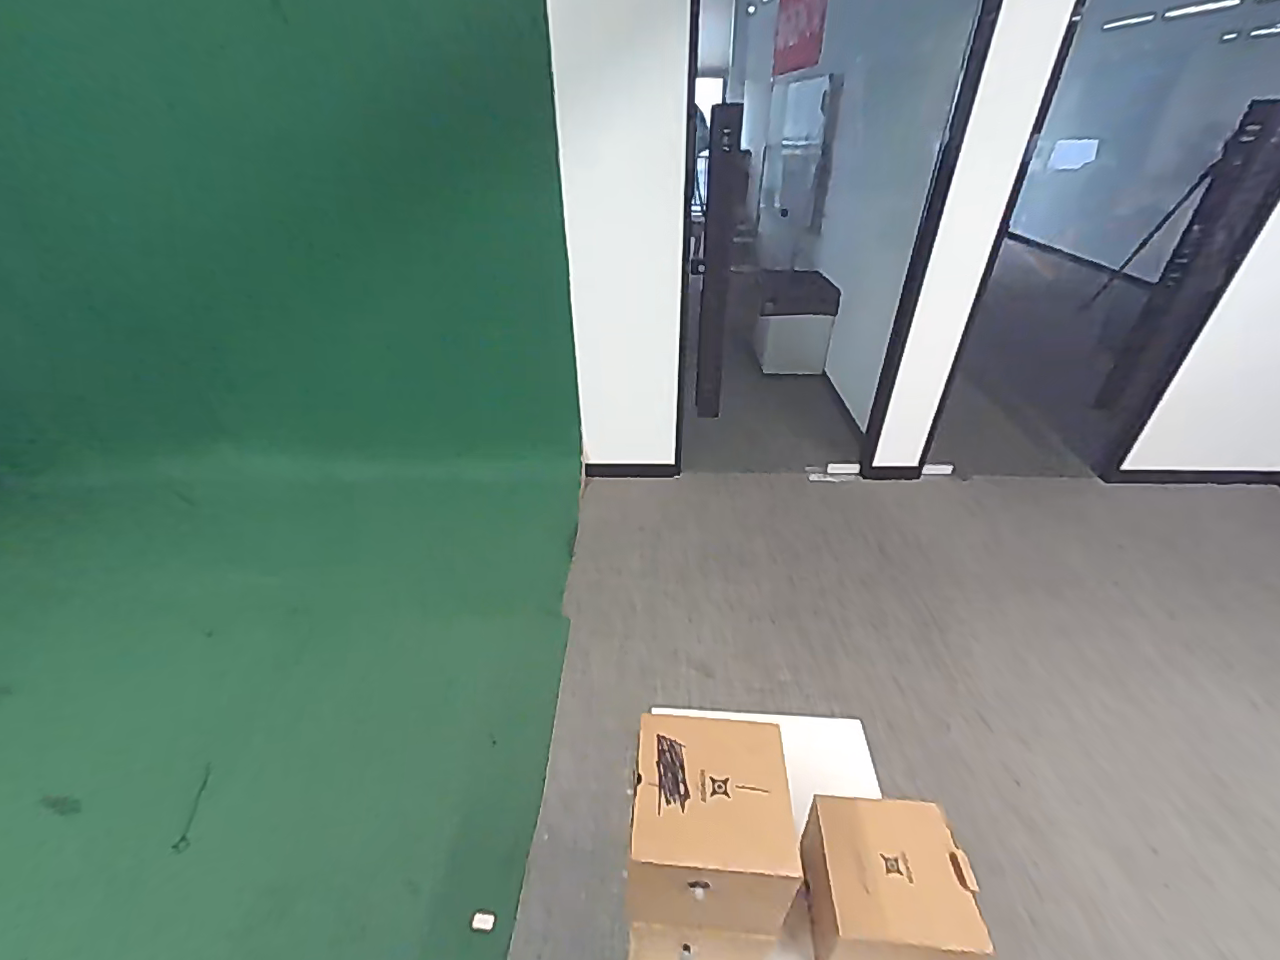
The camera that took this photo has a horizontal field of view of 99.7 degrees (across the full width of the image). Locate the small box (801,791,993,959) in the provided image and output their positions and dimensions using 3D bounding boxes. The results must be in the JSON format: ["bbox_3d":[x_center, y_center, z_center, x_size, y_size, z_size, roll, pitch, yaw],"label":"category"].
[{"bbox_3d":[0.326,0.552,0.730,0.179,0.176,0.168,1,34,5],"label":"small box"}]

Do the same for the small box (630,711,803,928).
[{"bbox_3d":[0.081,0.406,0.650,0.179,0.176,0.168,4,35,2],"label":"small box"}]

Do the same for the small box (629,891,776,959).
[{"bbox_3d":[0.080,0.544,0.741,0.179,0.176,0.168,3,35,4],"label":"small box"}]
